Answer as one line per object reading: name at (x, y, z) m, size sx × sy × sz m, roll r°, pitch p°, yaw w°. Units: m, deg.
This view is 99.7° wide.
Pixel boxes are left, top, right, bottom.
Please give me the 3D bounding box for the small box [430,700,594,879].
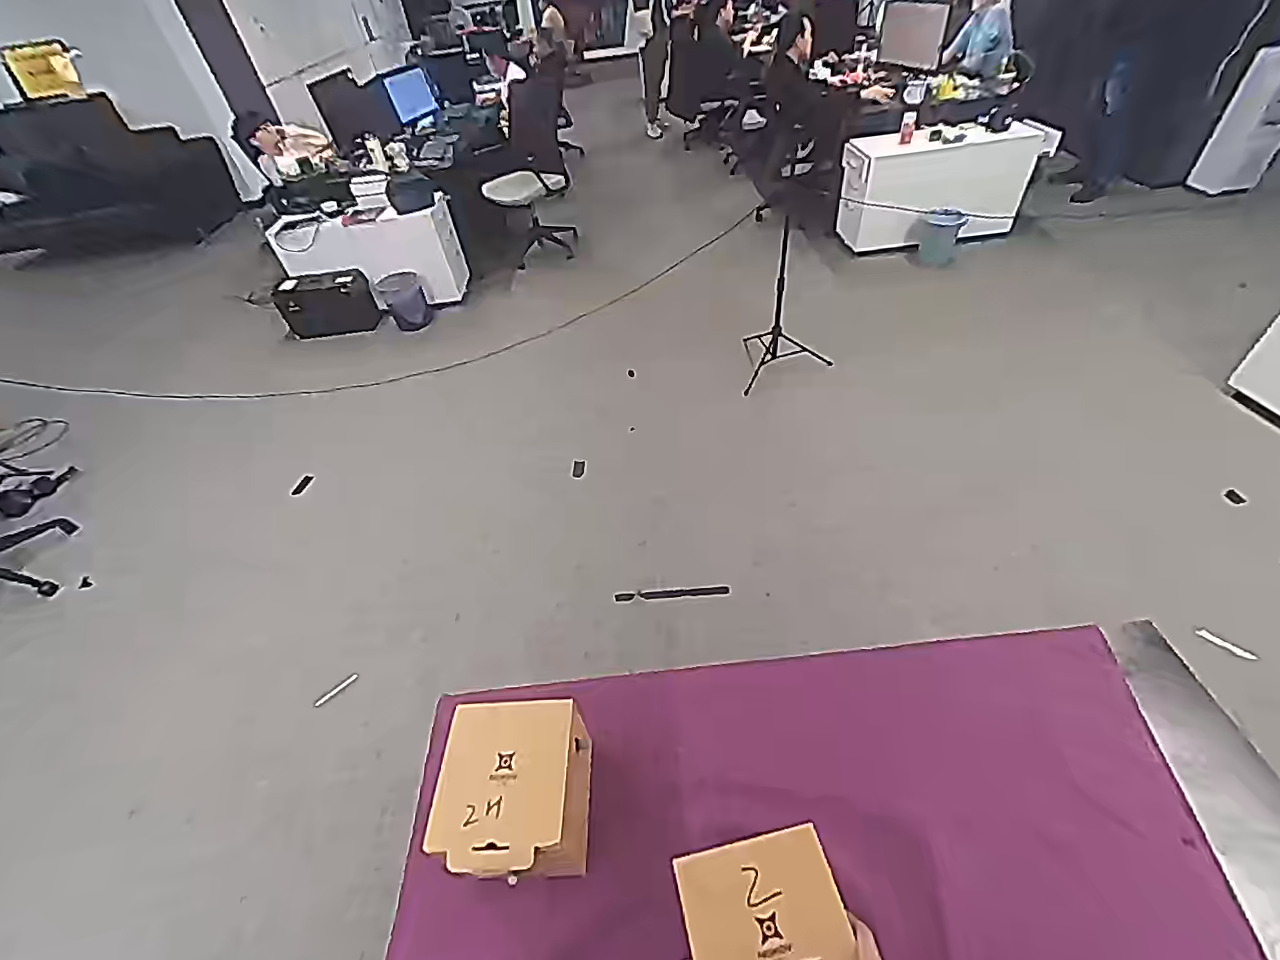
small box at (-0.159, 0.424, 0.740) m, size 0.168 × 0.176 × 0.179 m, roll -4°, pitch 45°, yaw 4°
